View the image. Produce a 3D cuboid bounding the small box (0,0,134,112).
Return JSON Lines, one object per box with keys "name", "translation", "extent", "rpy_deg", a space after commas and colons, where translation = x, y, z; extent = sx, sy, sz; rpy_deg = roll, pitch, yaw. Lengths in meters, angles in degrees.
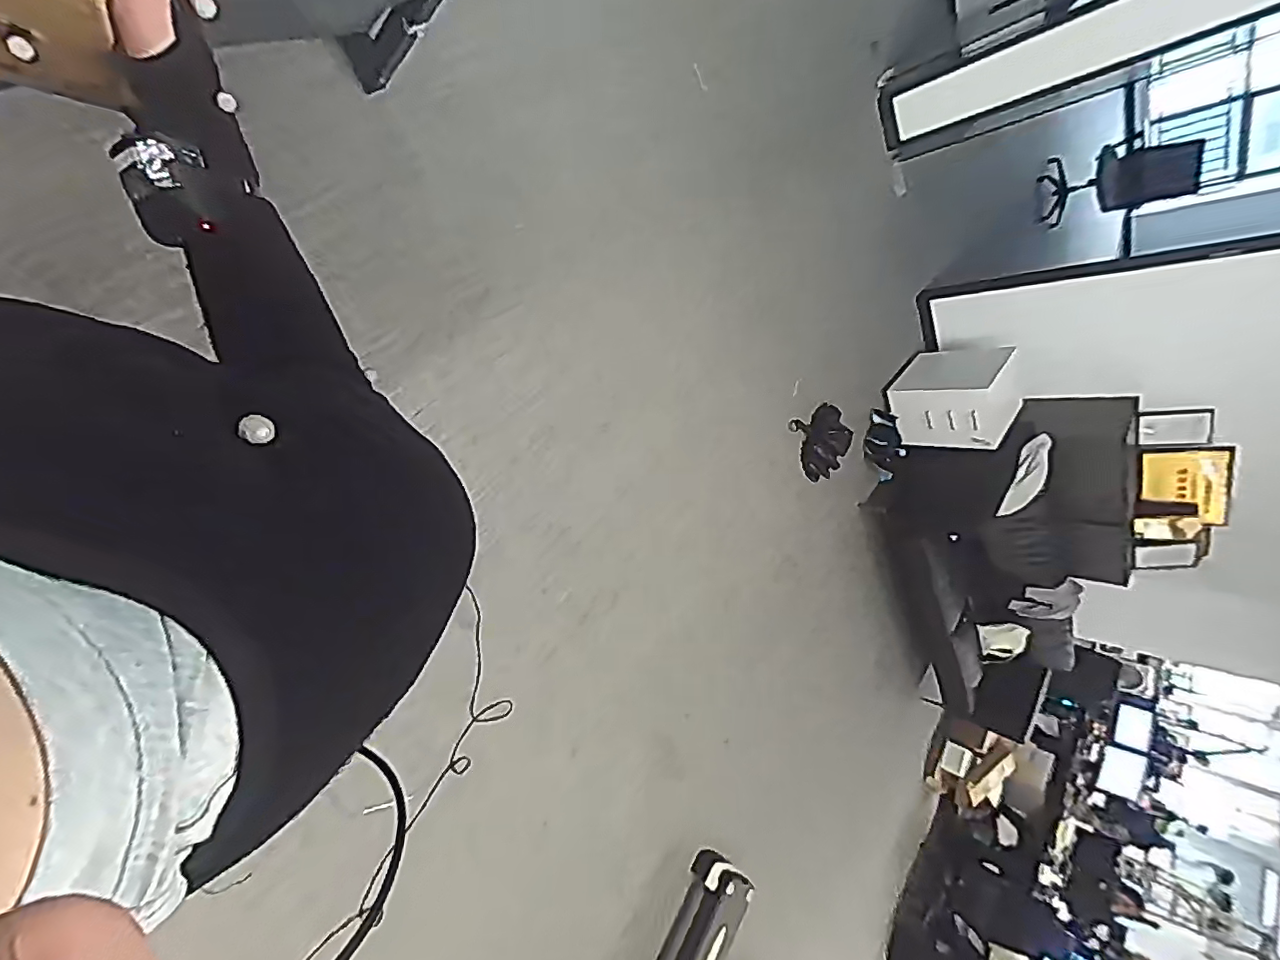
{"name": "small box", "translation": [-0.419, -0.364, 0.319], "extent": [0.168, 0.176, 0.179], "rpy_deg": [-4, 97, -41]}
